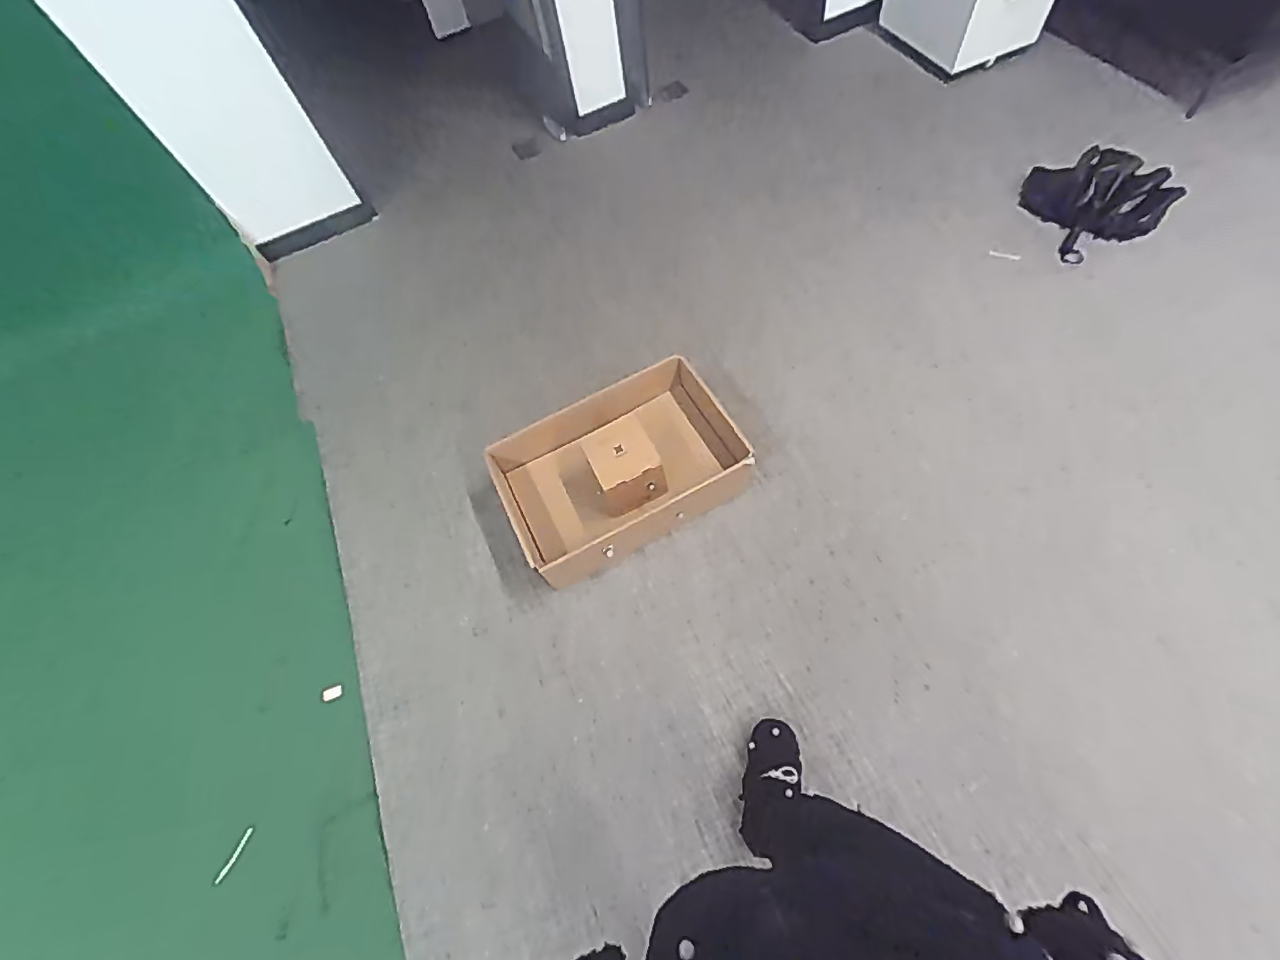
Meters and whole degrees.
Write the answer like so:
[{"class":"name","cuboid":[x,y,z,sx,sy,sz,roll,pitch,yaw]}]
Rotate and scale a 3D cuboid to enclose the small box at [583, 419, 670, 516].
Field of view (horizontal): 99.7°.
[{"class":"small box","cuboid":[-0.030,-0.025,1.443,0.168,0.176,0.179,-25,60,-6]}]
